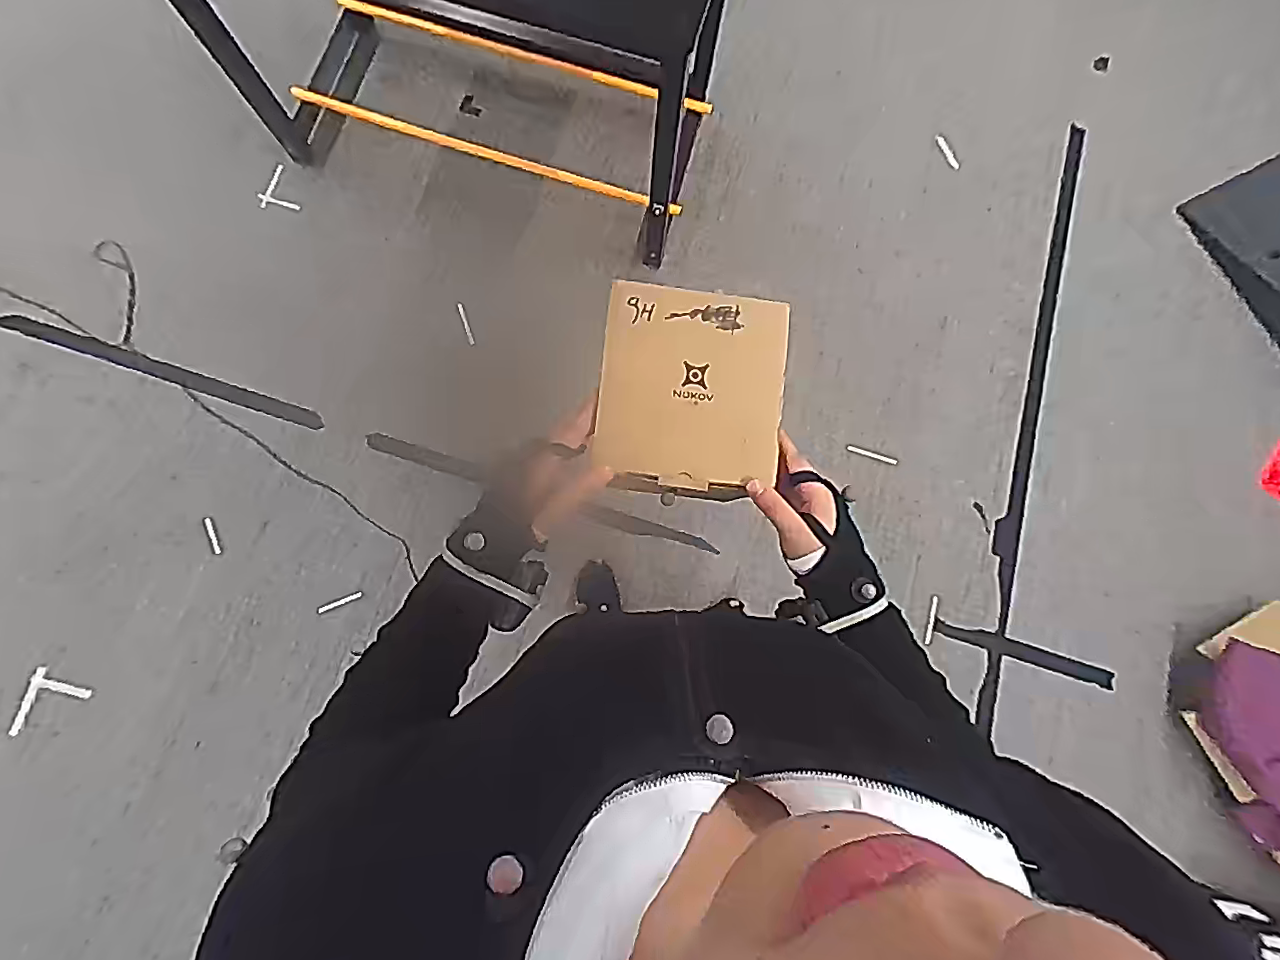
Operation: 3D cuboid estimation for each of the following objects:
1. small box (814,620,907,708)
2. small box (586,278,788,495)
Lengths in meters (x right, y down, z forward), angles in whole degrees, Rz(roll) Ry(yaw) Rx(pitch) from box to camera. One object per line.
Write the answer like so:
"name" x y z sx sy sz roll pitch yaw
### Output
"small box" 0.569 0.474 1.414 0.168 0.176 0.179 11 80 -1
"small box" 0.039 -0.080 0.558 0.168 0.176 0.179 7 85 -4
